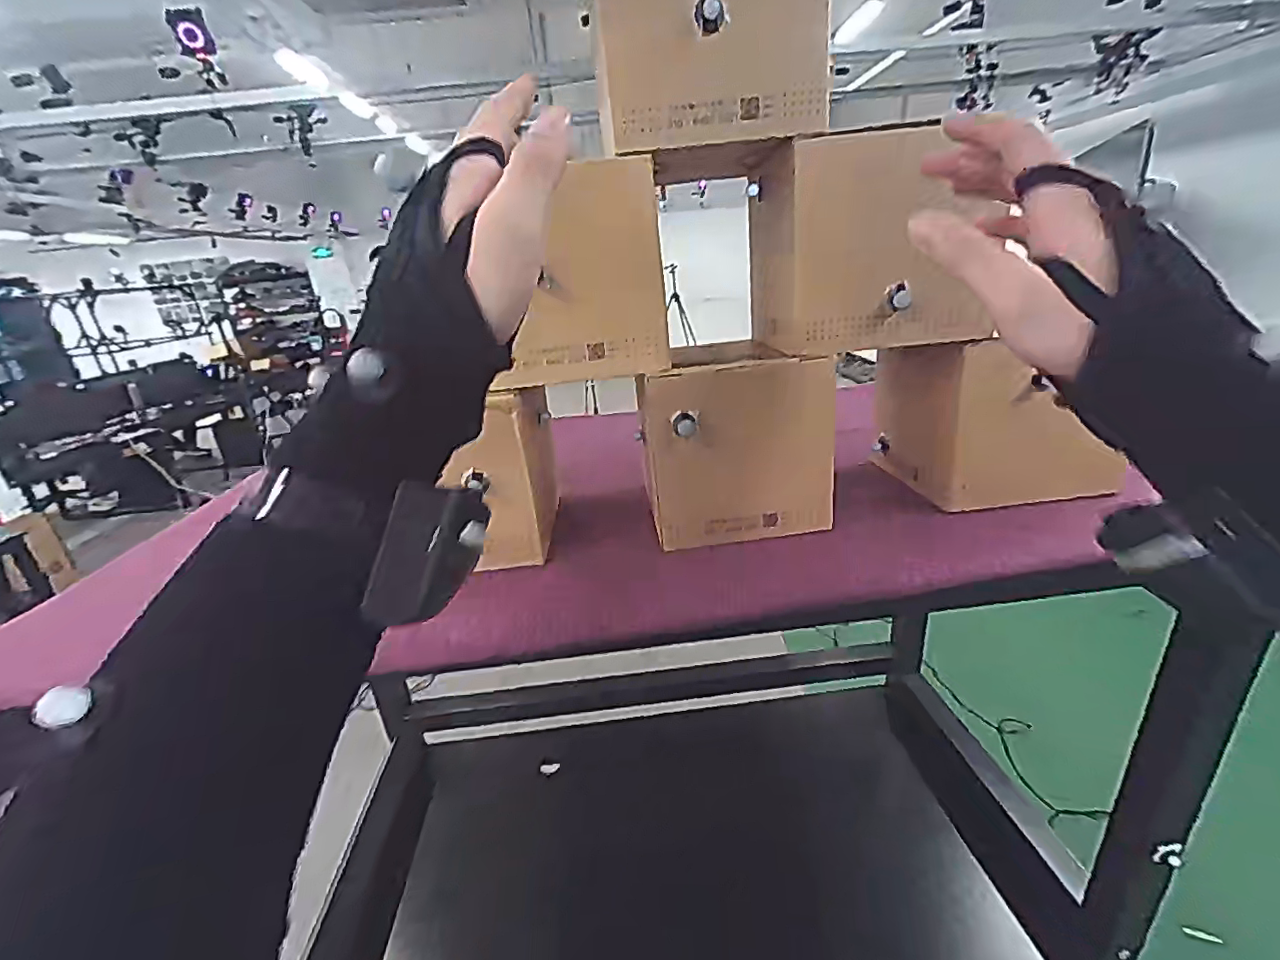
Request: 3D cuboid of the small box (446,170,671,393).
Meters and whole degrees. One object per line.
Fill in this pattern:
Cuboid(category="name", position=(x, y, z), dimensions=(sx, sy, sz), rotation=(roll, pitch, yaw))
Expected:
Cuboid(category="small box", position=(-0.067, -0.180, 0.523), dimensions=(0.168, 0.176, 0.179), rotation=(-7, 20, -2))

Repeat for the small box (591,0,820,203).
Cuboid(category="small box", position=(0.049, -0.351, 0.470), dimensions=(0.168, 0.176, 0.179), rotation=(-7, 20, -2))

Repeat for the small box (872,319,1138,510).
Cuboid(category="small box", position=(0.371, -0.075, 0.586), dimensions=(0.179, 0.176, 0.168), rotation=(-7, 21, -2))

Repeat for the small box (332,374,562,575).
Cuboid(category="small box", position=(-0.177, -0.011, 0.562), dimensions=(0.168, 0.176, 0.179), rotation=(-5, 20, -1))
